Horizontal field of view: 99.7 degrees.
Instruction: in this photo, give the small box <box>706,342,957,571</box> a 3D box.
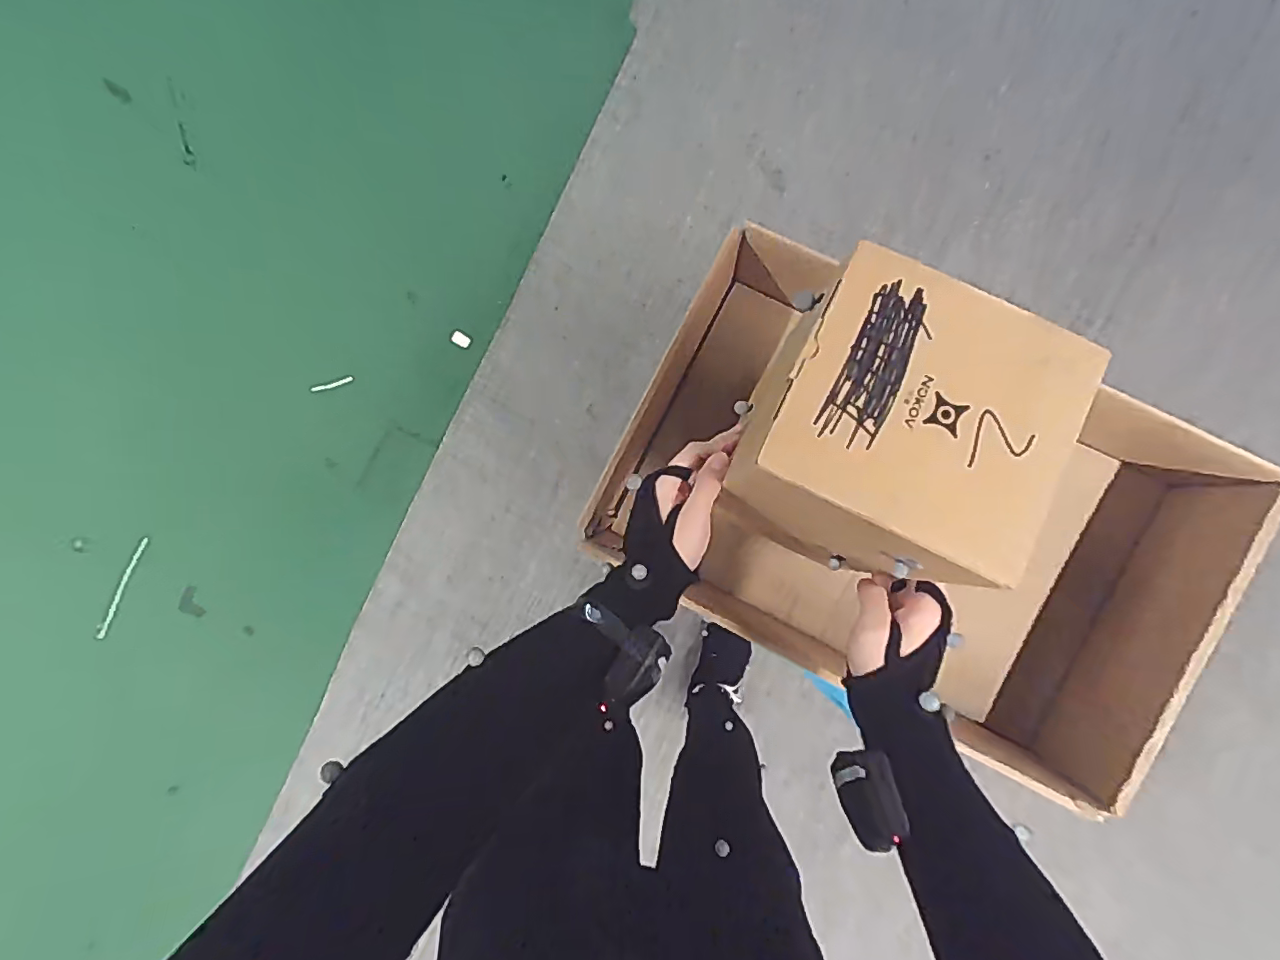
[{"bbox_3d":[0.183,-0.013,0.577,0.179,0.176,0.168,26,84,4],"label":"small box"}]
